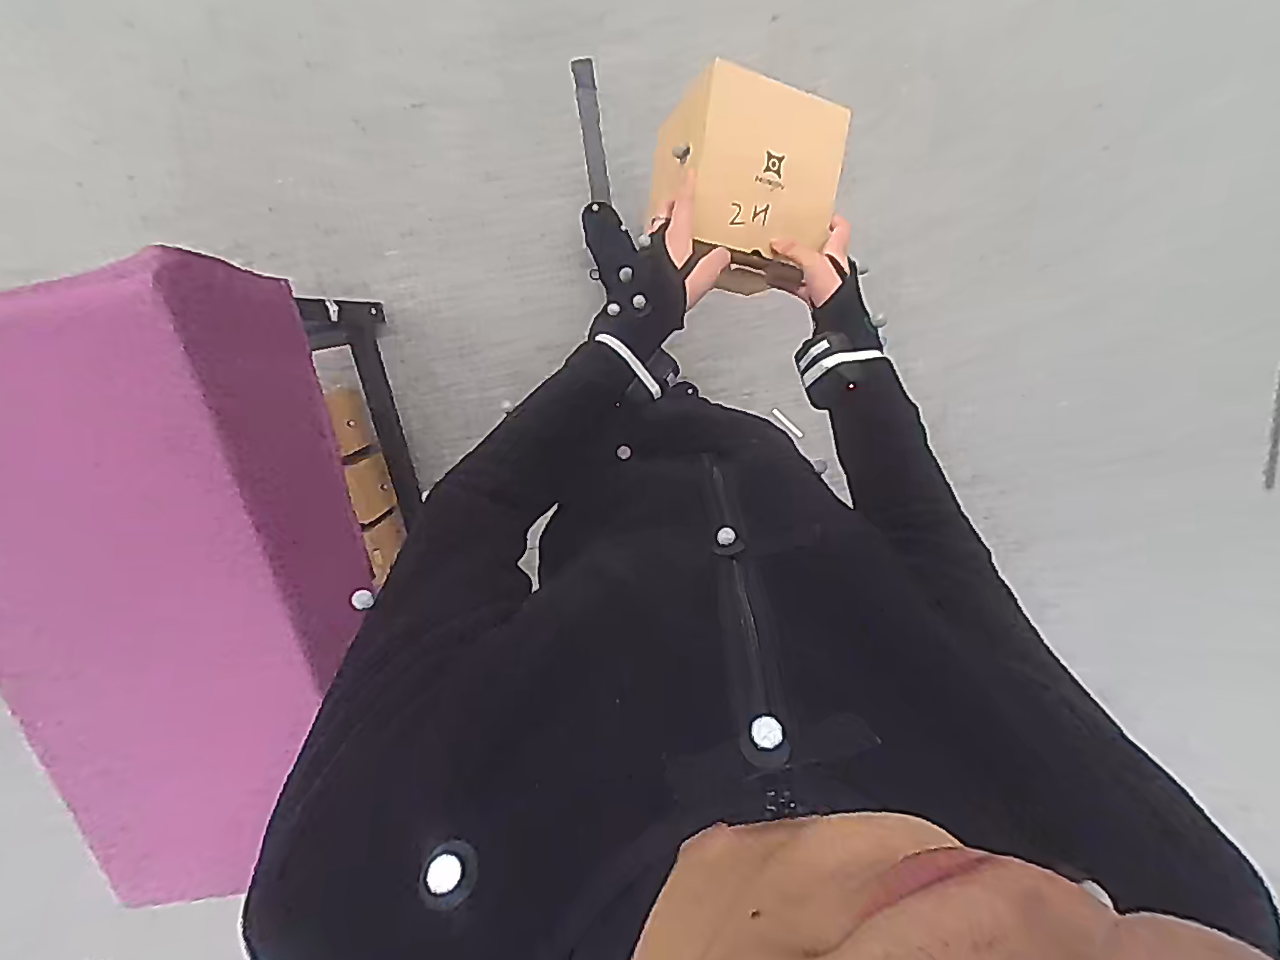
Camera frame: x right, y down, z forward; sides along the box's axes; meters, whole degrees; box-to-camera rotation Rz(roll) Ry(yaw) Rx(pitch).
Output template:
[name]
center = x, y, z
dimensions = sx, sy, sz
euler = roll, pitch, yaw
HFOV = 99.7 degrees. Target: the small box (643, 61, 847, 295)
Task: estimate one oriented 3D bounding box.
[small box]
center = 0.112, -0.336, 0.646
dimensions = 0.168, 0.176, 0.179
euler = 7, 99, -18
